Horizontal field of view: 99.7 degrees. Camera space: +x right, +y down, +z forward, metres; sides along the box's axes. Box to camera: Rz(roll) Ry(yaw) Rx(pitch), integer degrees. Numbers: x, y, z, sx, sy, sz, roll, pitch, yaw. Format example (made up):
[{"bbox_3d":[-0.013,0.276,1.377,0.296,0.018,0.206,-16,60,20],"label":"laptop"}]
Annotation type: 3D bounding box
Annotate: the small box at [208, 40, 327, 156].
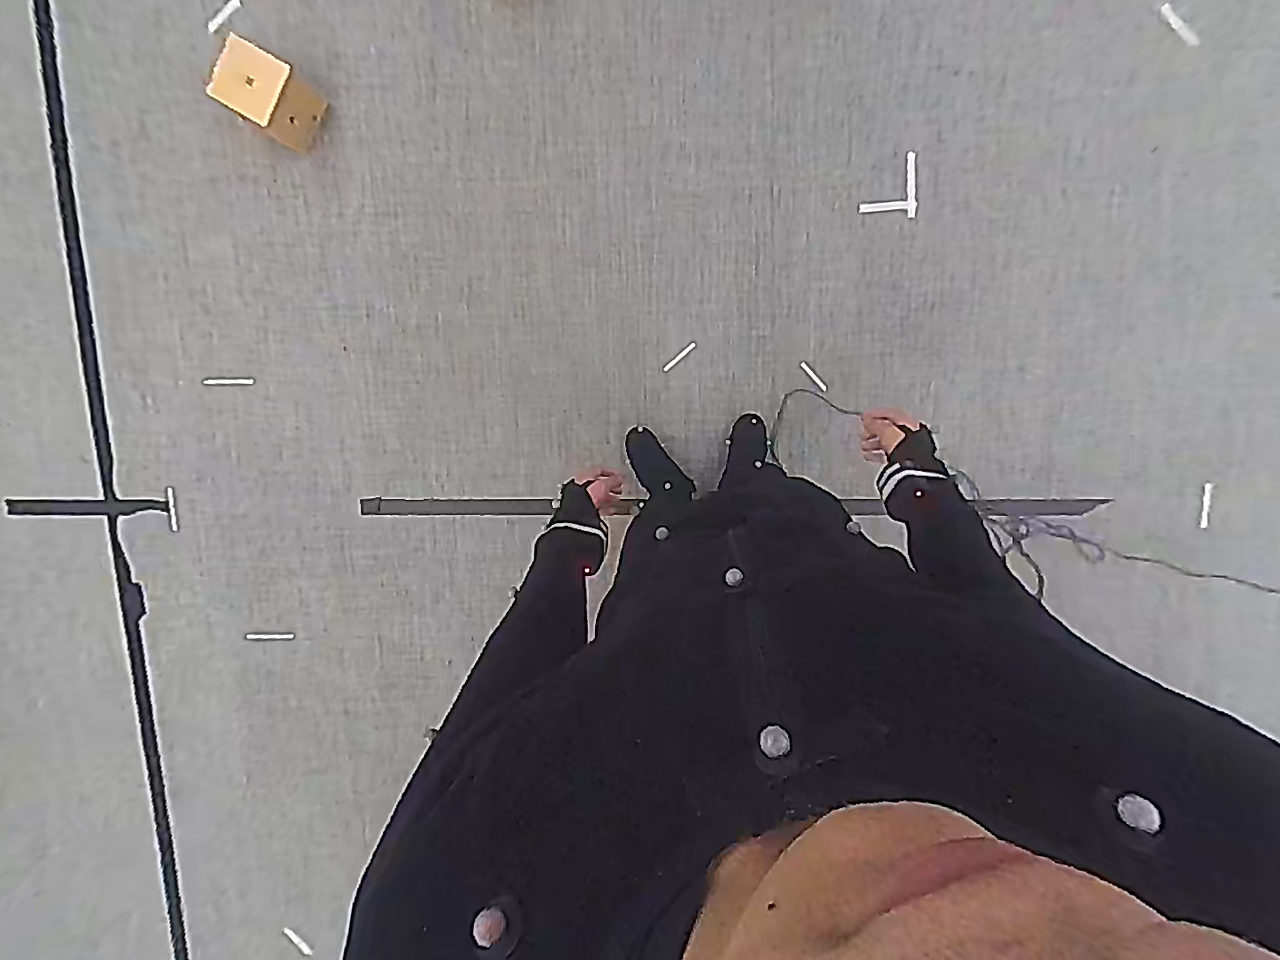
[{"bbox_3d":[-0.994,-1.015,1.458,0.179,0.176,0.168,29,97,-2],"label":"small box"}]
